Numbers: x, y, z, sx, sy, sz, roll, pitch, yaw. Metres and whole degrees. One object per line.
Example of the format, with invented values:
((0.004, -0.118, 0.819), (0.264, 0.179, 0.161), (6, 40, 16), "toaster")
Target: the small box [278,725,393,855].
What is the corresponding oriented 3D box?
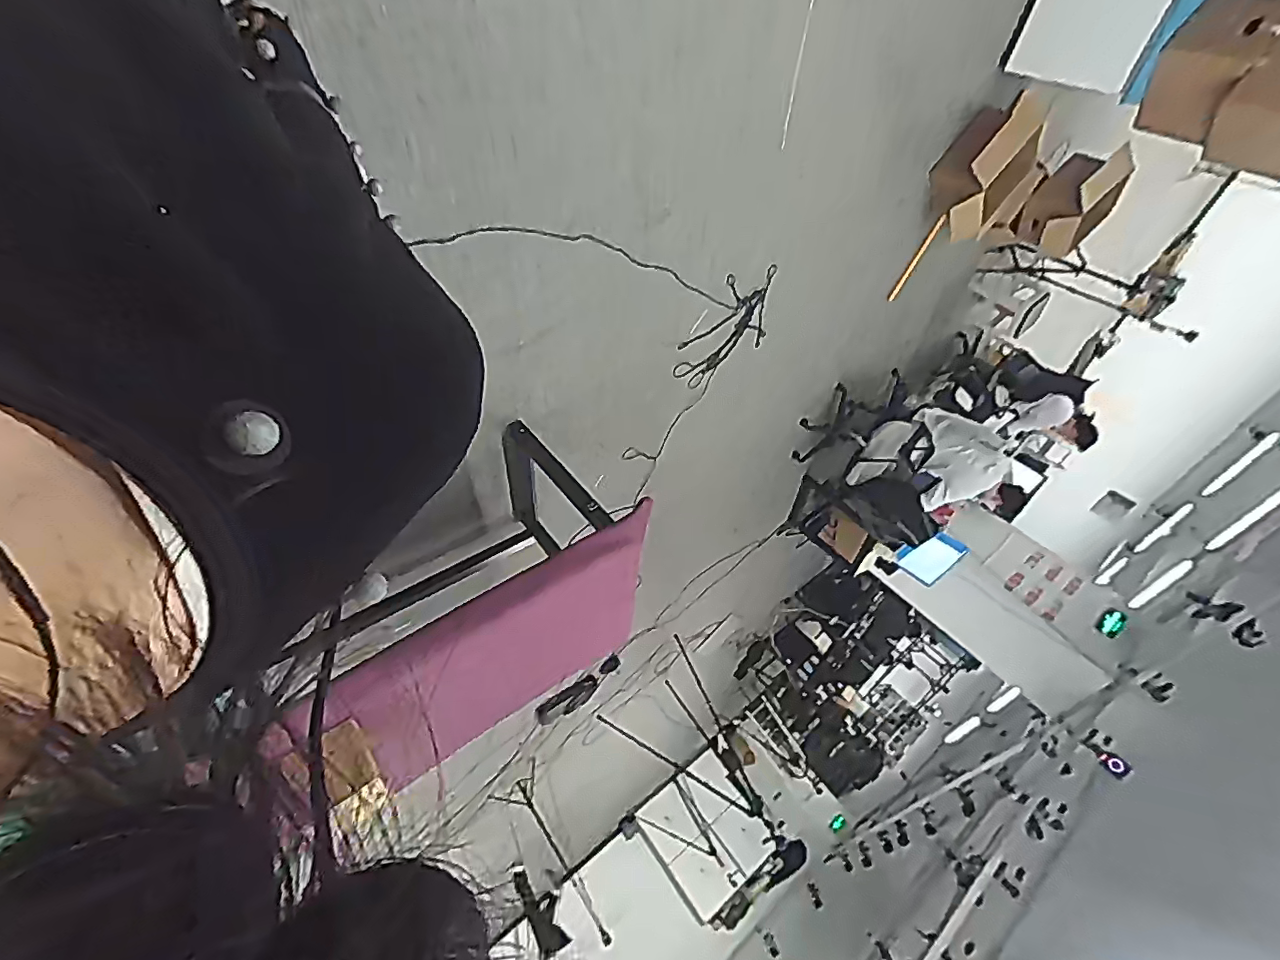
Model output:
((-0.701, 0.706, 1.241), (0.179, 0.176, 0.168), (-26, 145, -29), "small box")
